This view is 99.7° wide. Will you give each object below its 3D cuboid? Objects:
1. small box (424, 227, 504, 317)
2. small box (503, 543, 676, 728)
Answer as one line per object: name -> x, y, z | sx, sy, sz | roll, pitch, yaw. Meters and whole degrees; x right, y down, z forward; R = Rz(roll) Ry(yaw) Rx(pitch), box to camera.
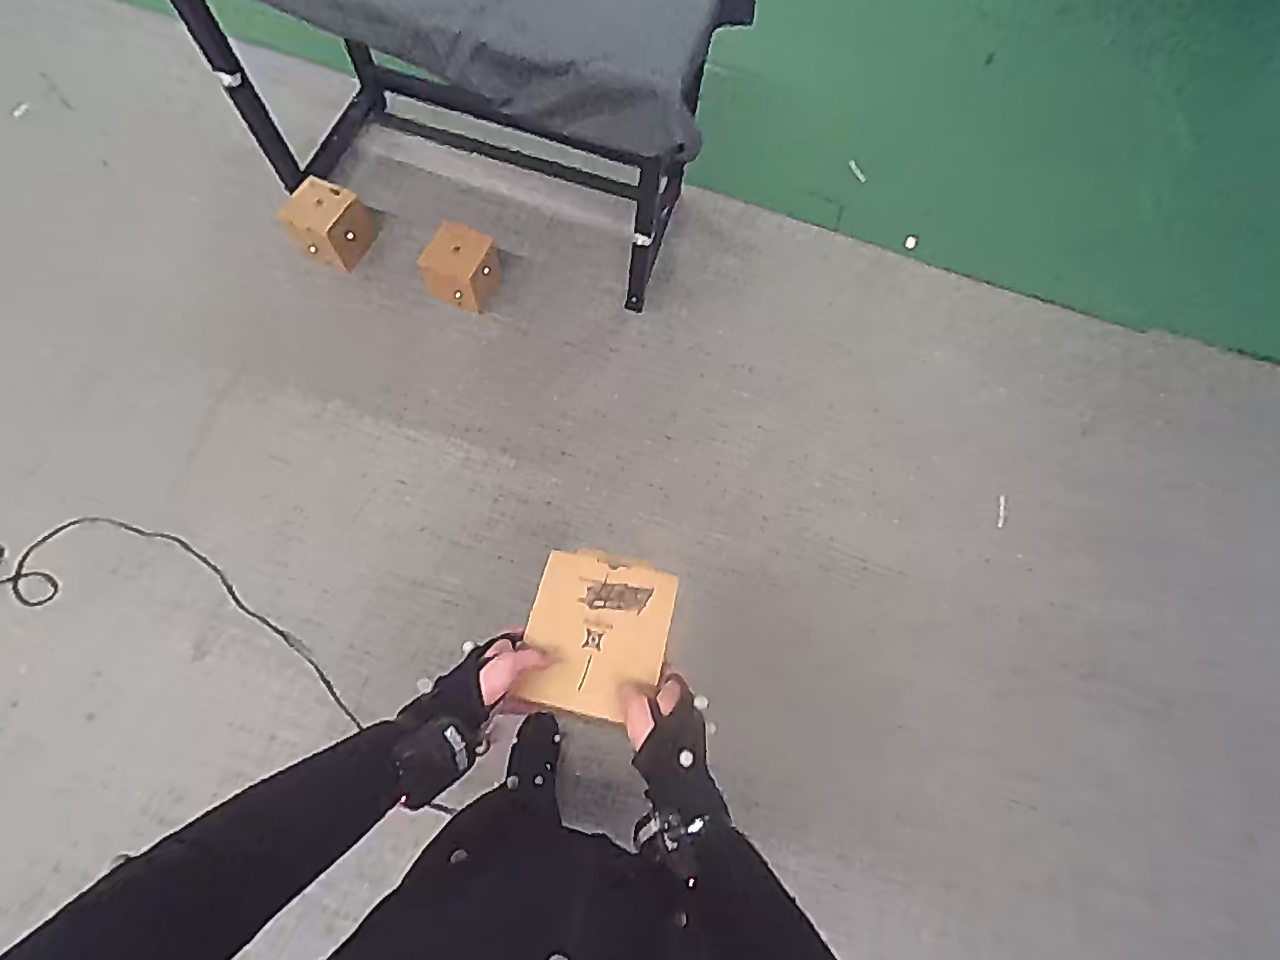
small box -> -0.541, -0.646, 1.694 | 0.168, 0.176, 0.179 | 20, 68, 1
small box -> -0.052, 0.205, 0.694 | 0.168, 0.176, 0.179 | 10, 63, 9
